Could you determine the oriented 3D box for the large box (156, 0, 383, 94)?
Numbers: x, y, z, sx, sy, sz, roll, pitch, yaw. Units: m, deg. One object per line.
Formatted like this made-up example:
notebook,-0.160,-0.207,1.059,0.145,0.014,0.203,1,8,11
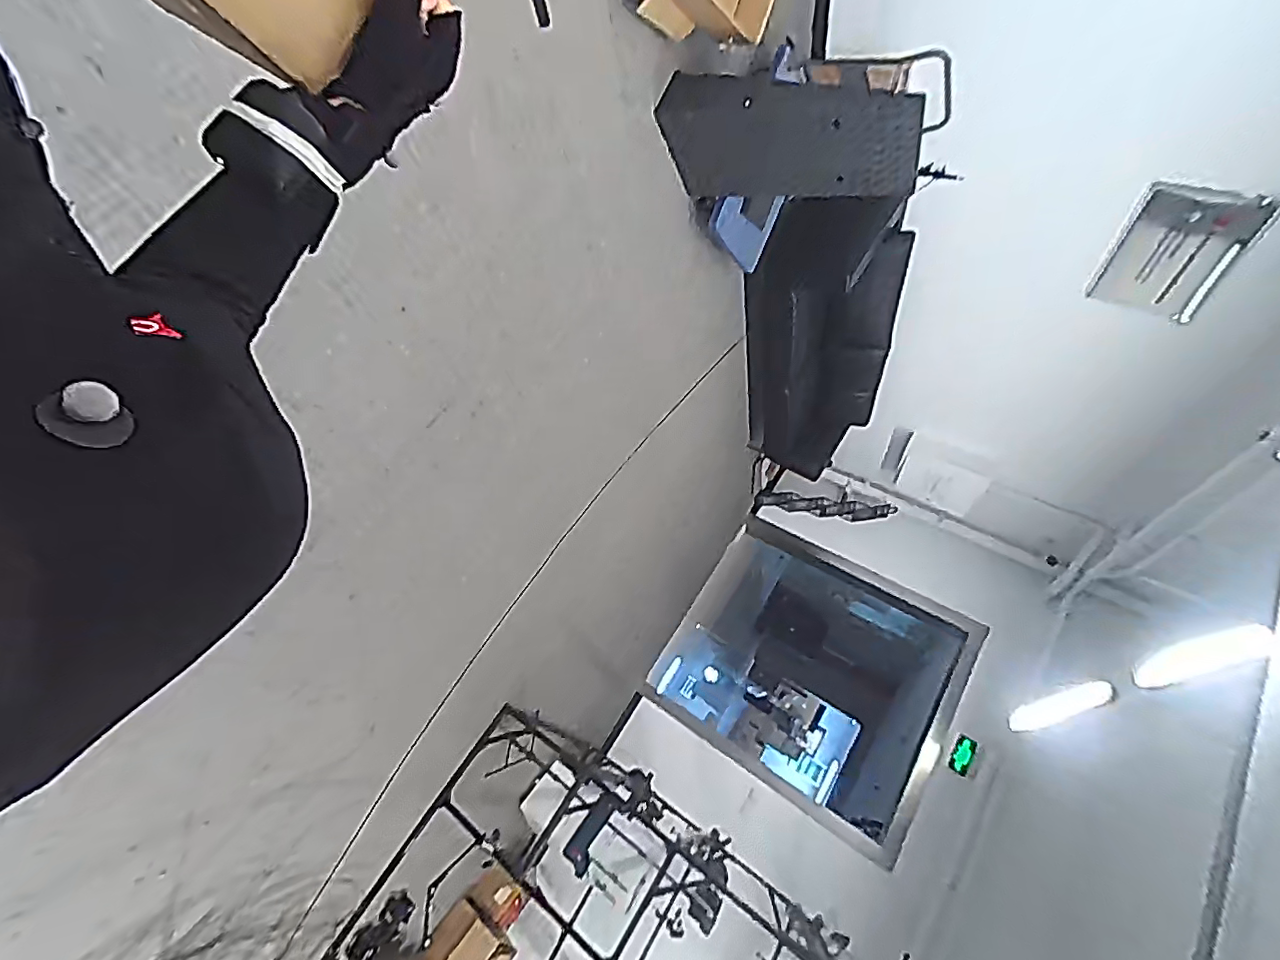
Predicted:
large box,-0.341,-0.535,0.284,0.320,0.320,0.408,-53,158,5
